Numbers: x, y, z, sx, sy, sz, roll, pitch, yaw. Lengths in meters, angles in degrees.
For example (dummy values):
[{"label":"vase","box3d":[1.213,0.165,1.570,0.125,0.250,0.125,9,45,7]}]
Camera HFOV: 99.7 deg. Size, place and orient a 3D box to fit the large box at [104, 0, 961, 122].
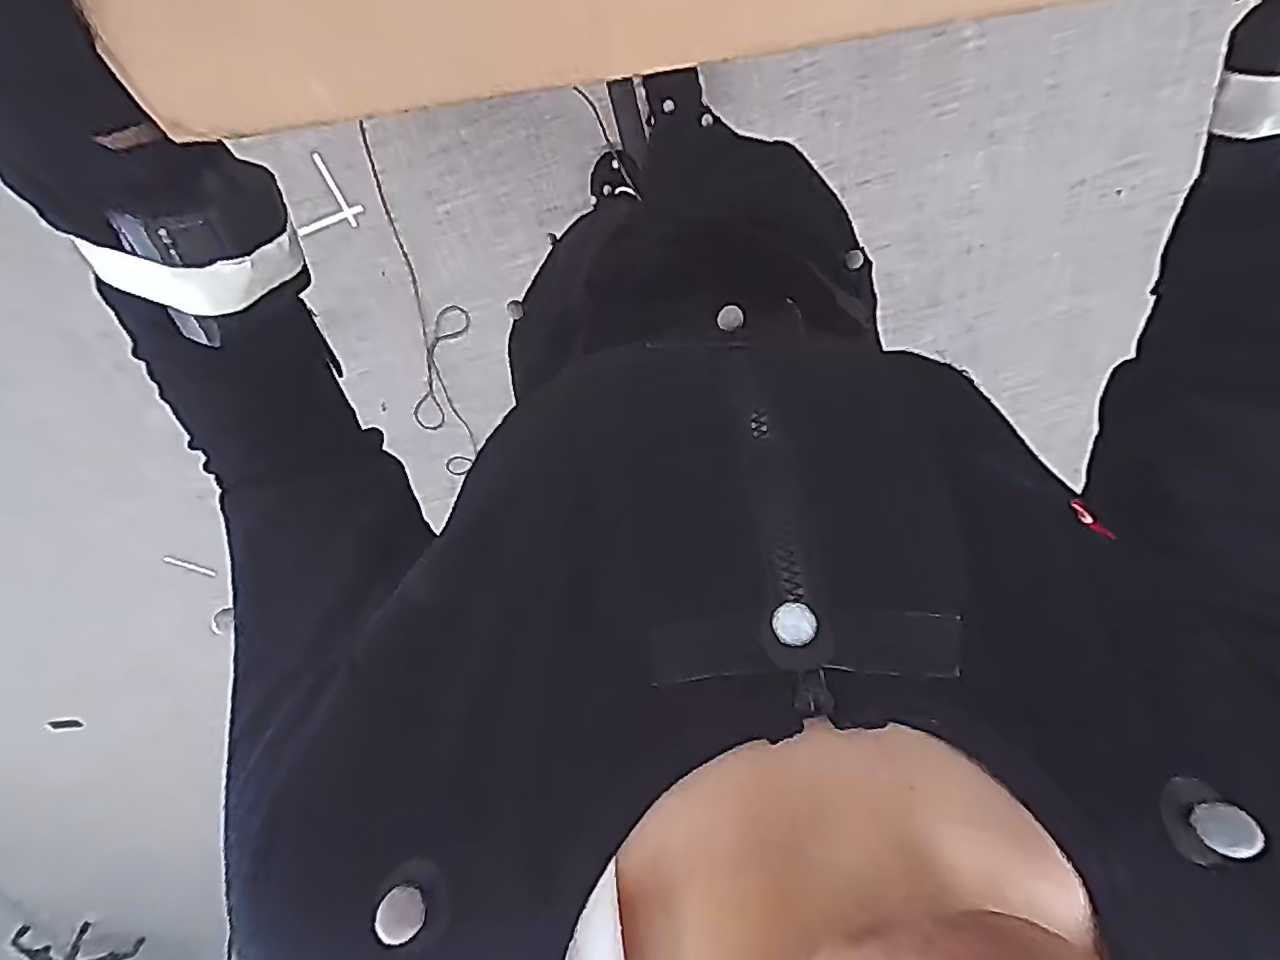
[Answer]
[{"label":"large box","box3d":[-0.001,-0.368,0.151,0.408,0.320,0.320,-7,146,2]}]
